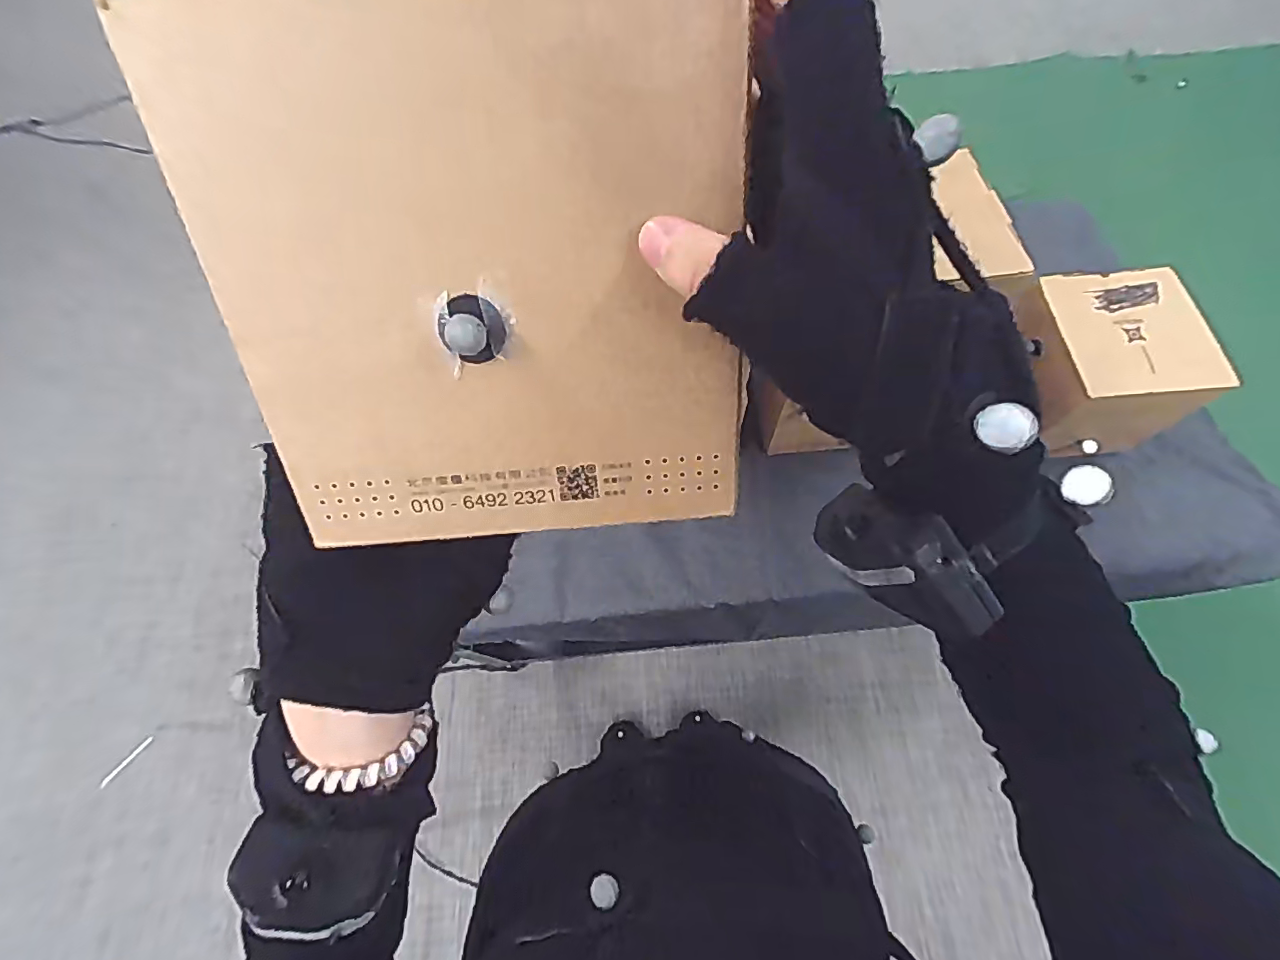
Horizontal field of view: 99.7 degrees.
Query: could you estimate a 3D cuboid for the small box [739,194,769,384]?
[{"bbox_3d":[0.024,-0.194,0.579,0.179,0.176,0.168,-10,67,-1],"label":"small box"}]
